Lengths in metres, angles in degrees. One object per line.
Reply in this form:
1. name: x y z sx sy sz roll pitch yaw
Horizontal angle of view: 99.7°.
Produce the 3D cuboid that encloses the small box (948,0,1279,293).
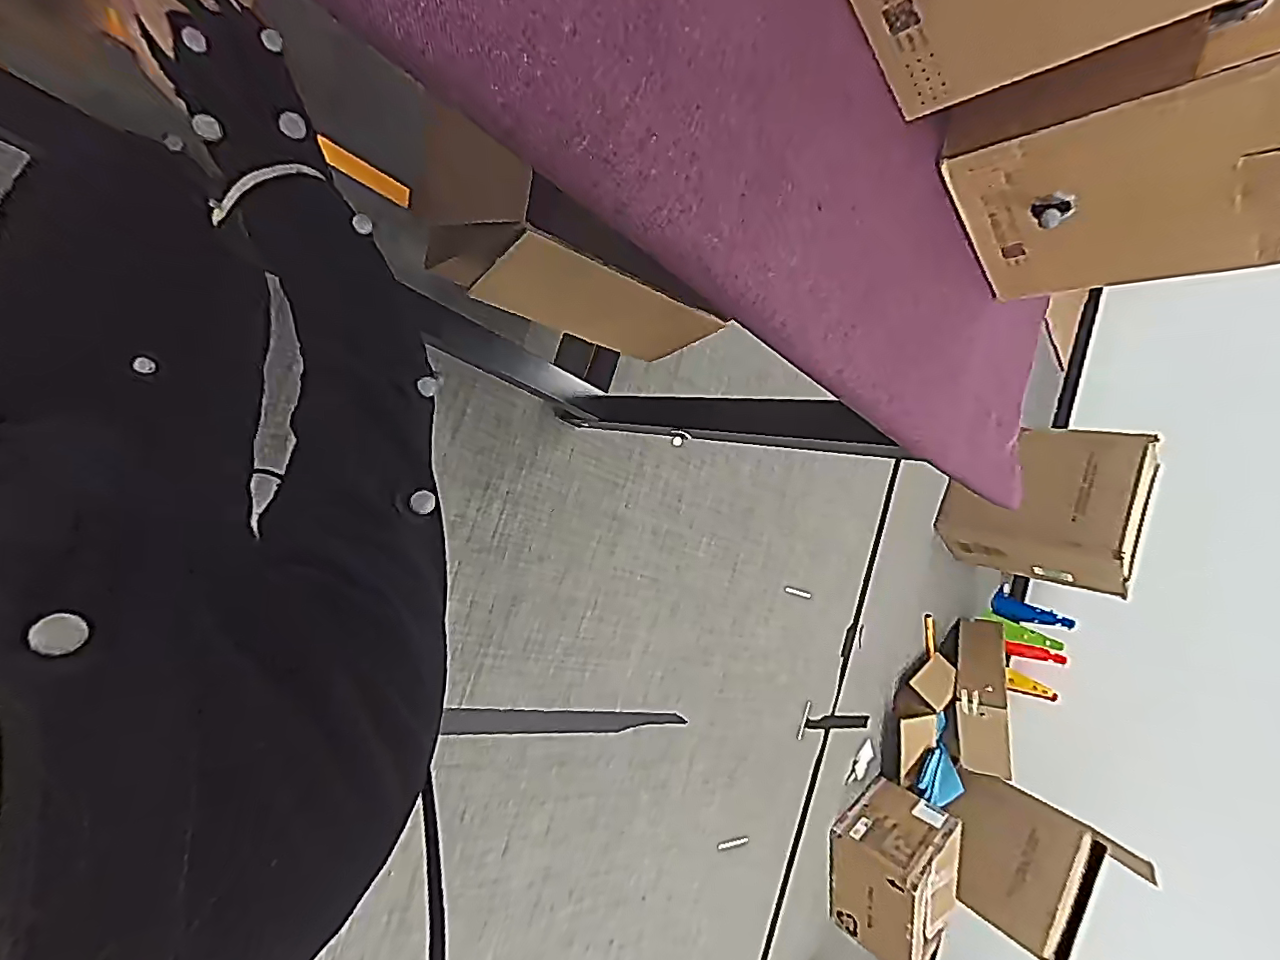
1. small box: 0.334 -0.254 0.366 0.168 0.176 0.179 27 79 -40
